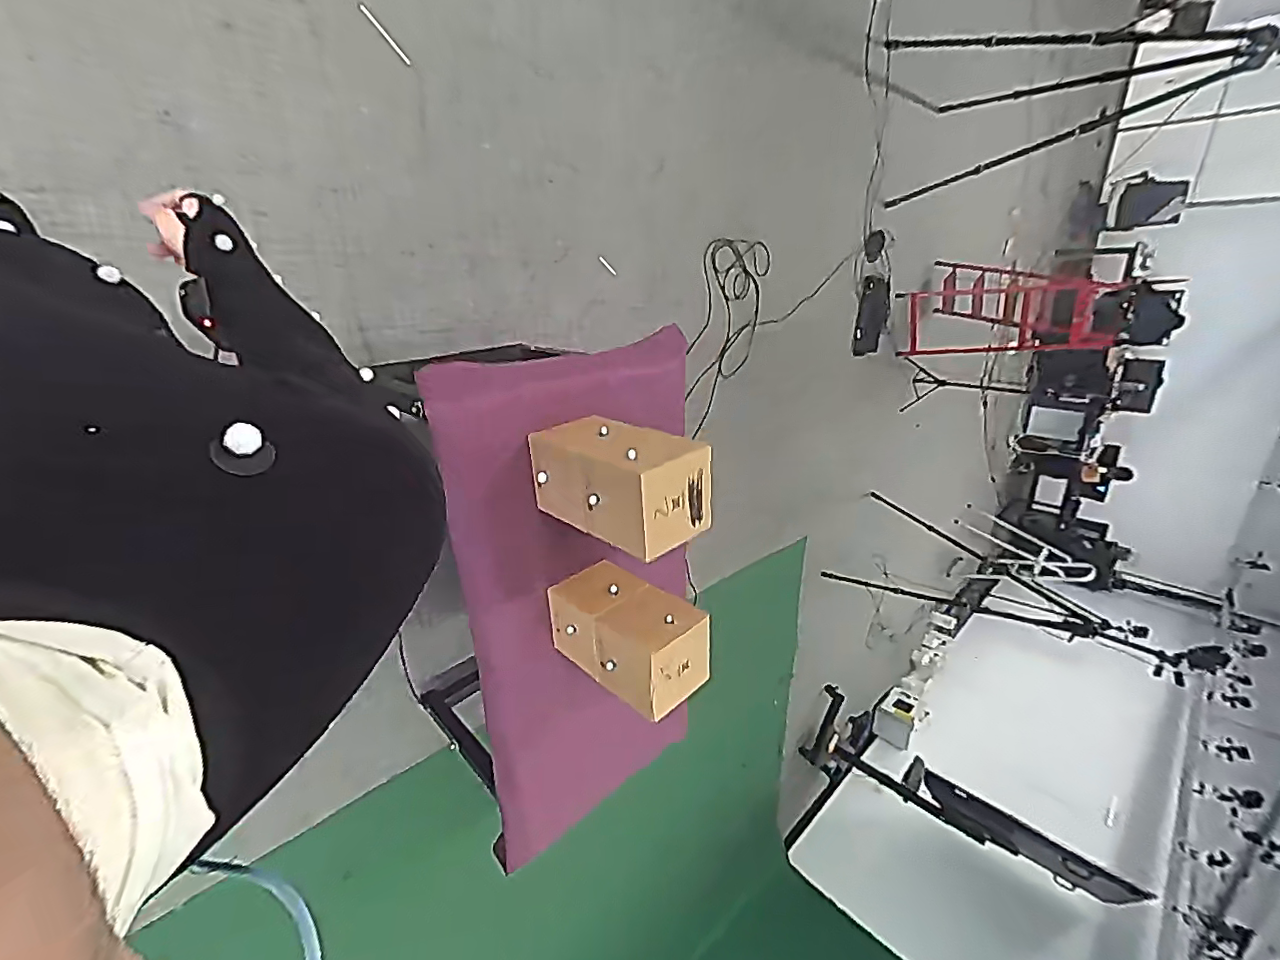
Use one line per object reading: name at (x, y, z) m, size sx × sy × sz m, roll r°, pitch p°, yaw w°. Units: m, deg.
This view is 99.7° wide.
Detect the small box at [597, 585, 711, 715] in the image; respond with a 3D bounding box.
small box at (0.030, 0.346, 1.139) m, size 0.179 × 0.176 × 0.168 m, roll -22°, pitch 118°, yaw -40°

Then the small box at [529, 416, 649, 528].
small box at (-0.102, -0.027, 1.113) m, size 0.179 × 0.176 × 0.168 m, roll -23°, pitch 119°, yaw -38°

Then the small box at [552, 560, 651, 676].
small box at (-0.089, 0.308, 1.247) m, size 0.179 × 0.176 × 0.168 m, roll -24°, pitch 119°, yaw -40°
